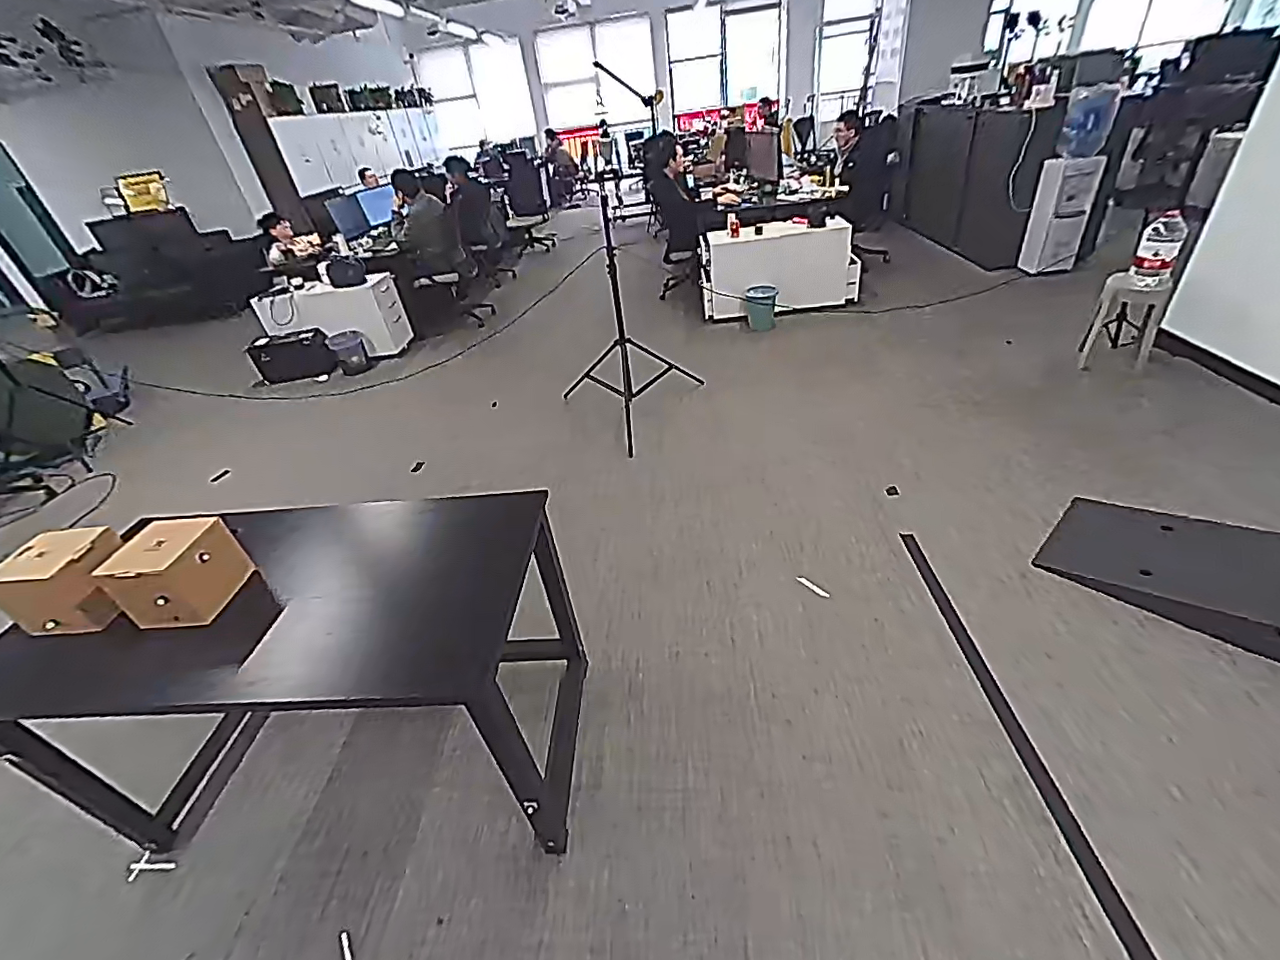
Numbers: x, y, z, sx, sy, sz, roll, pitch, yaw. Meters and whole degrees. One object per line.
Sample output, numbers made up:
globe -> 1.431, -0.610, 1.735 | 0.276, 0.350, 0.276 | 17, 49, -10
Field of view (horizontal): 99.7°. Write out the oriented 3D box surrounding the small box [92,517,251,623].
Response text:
small box -> -1.023, 0.204, 1.204 | 0.168, 0.176, 0.179 | -4, 34, 5

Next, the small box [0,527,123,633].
small box -> -1.284, 0.226, 1.221 | 0.179, 0.176, 0.168 | -5, 35, 4
